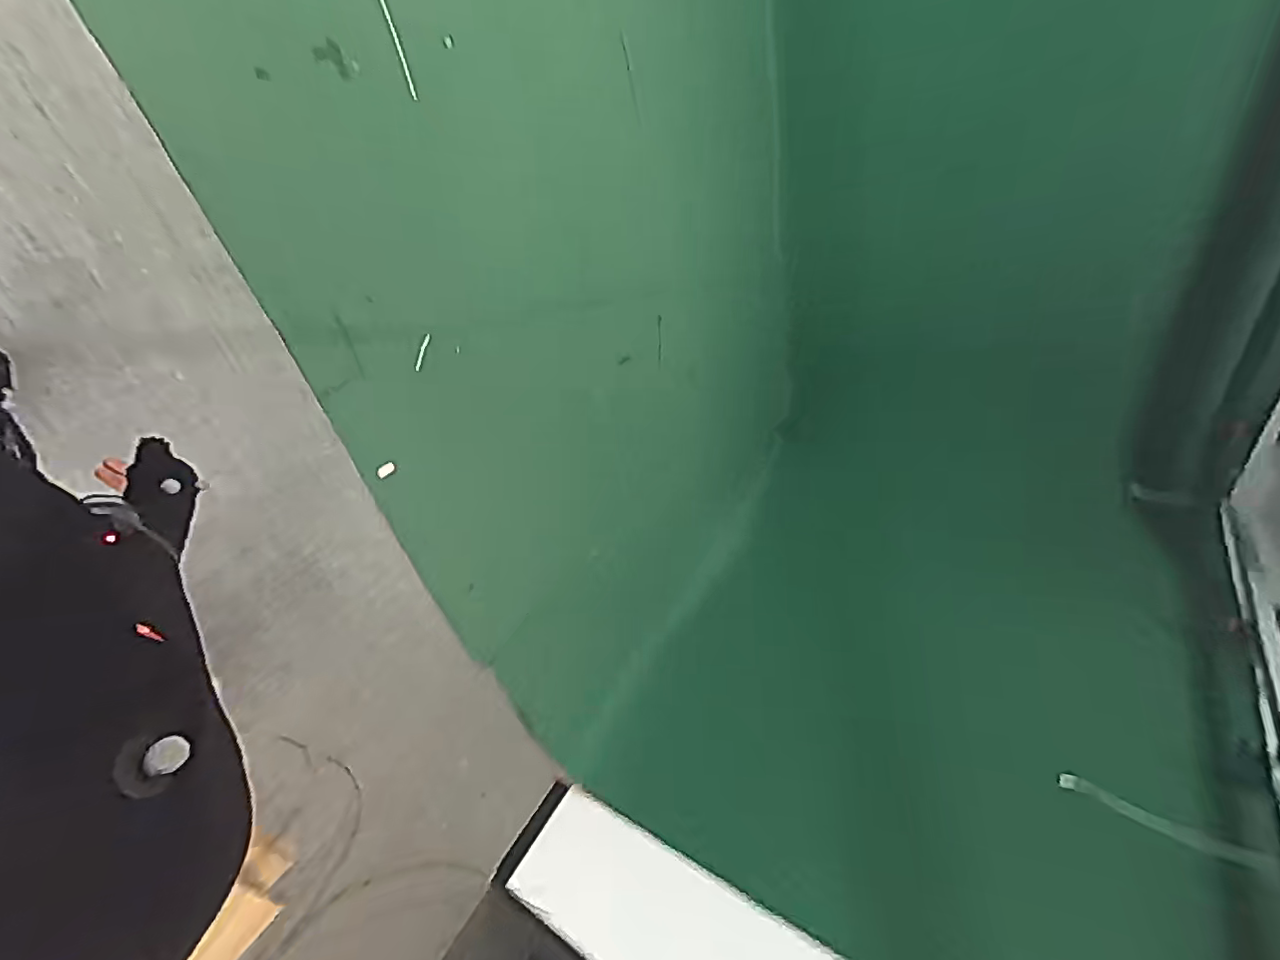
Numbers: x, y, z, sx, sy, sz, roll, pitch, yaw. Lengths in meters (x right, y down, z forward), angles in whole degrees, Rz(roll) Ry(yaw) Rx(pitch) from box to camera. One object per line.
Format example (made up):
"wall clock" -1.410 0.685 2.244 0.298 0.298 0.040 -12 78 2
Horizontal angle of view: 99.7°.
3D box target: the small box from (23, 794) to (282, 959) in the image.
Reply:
"small box" -0.622 0.553 0.695 0.179 0.176 0.168 -51 136 -37
